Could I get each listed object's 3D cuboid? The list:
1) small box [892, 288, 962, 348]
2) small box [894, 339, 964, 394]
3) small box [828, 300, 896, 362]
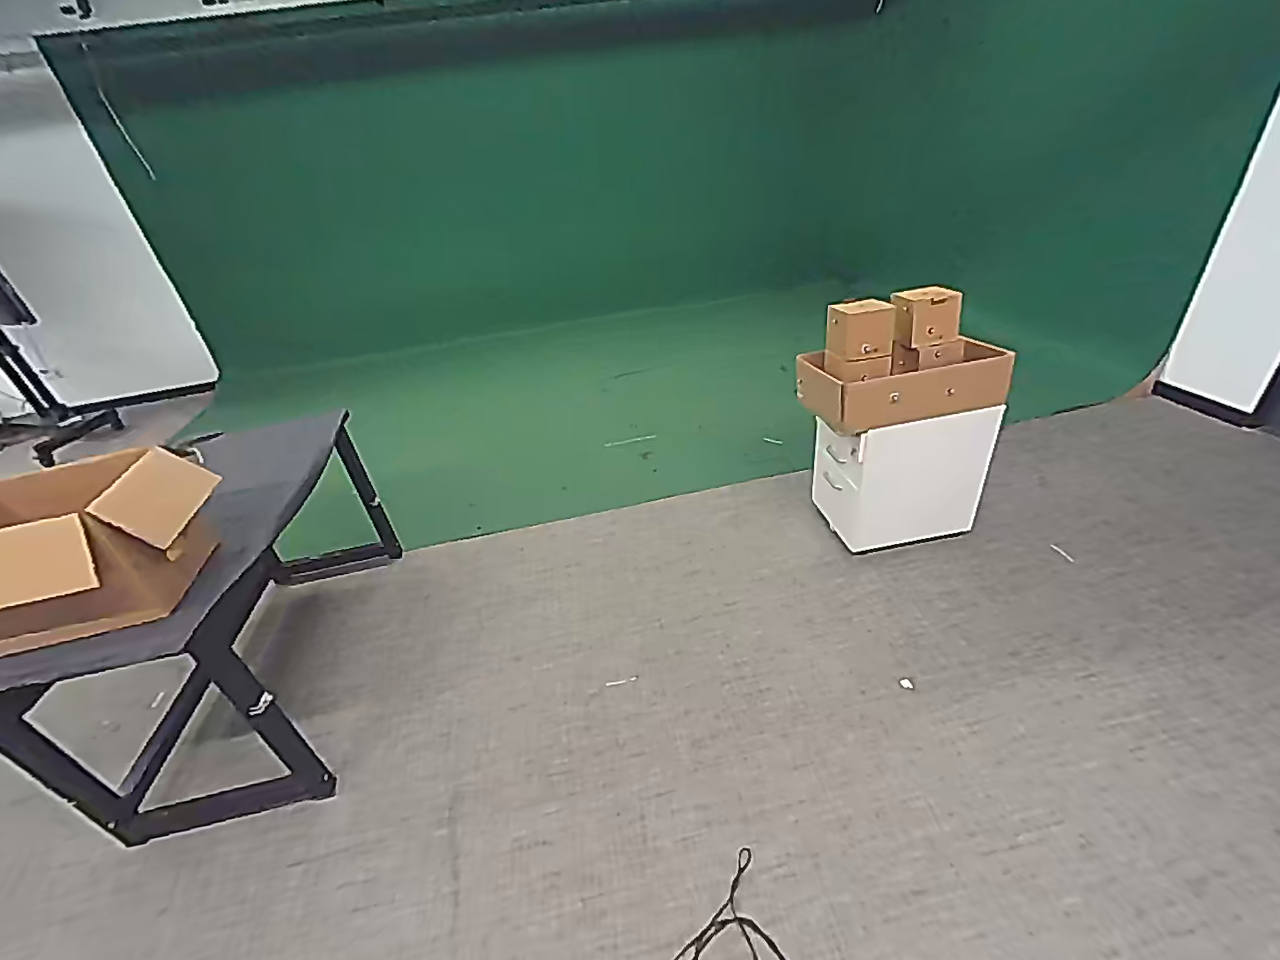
[{"bbox_3d":[1.021,-0.583,1.948,0.168,0.176,0.179,-9,28,1],"label":"small box"},{"bbox_3d":[1.057,-0.429,1.994,0.168,0.176,0.179,-12,27,-2],"label":"small box"},{"bbox_3d":[0.776,-0.525,1.907,0.168,0.176,0.179,-10,28,-2],"label":"small box"}]
